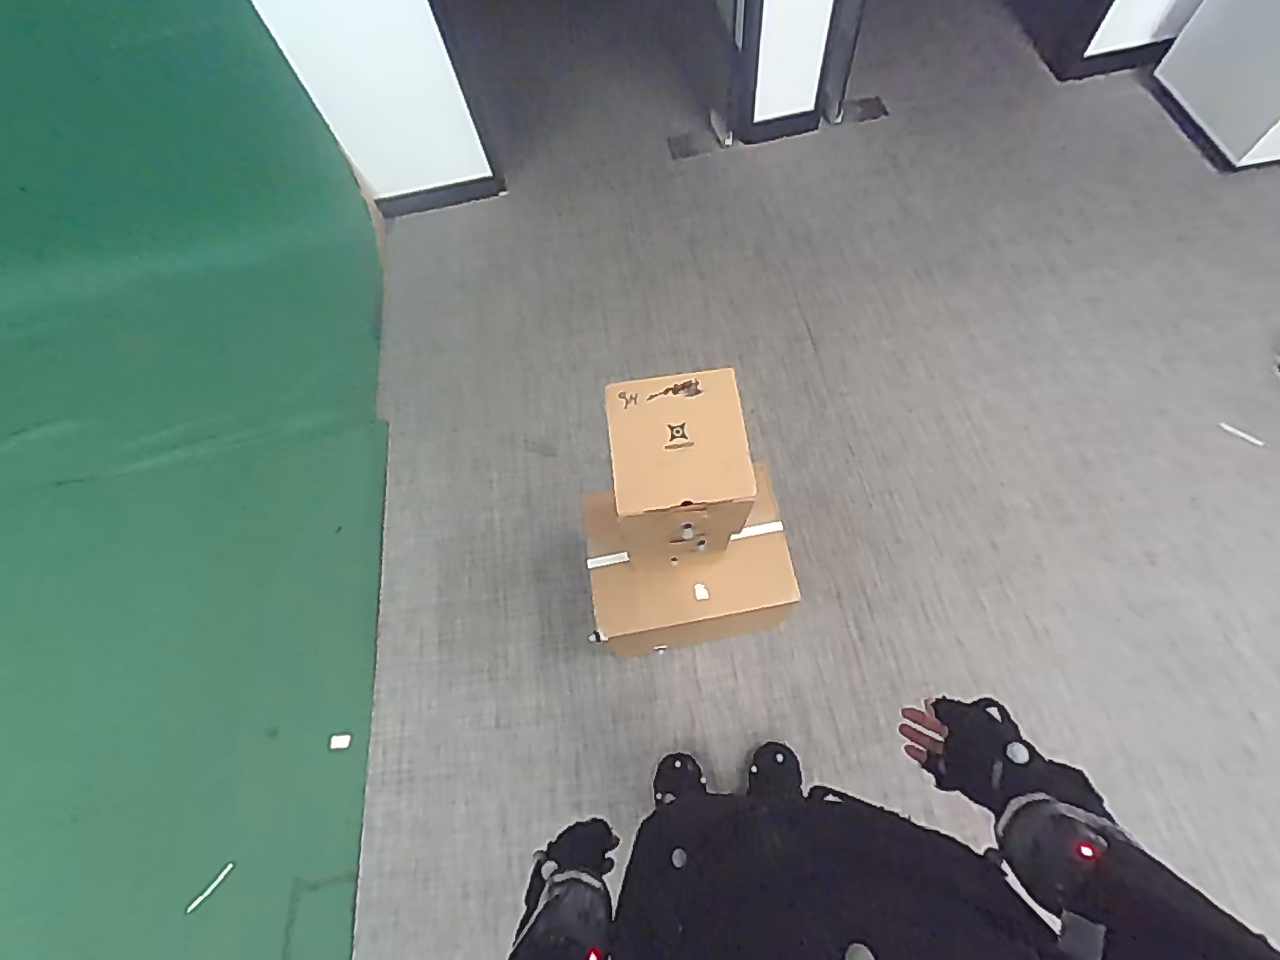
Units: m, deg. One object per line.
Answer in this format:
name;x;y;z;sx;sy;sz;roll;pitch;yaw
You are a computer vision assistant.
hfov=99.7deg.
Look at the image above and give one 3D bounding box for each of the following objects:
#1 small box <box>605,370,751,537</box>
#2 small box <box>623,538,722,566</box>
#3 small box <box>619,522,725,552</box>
small box;0.049;-0.024;0.733;0.168;0.176;0.179;-7;71;2
small box;0.059;0.067;1.043;0.179;0.176;0.168;-4;69;3
small box;0.053;0.019;0.891;0.168;0.176;0.179;-4;70;2
